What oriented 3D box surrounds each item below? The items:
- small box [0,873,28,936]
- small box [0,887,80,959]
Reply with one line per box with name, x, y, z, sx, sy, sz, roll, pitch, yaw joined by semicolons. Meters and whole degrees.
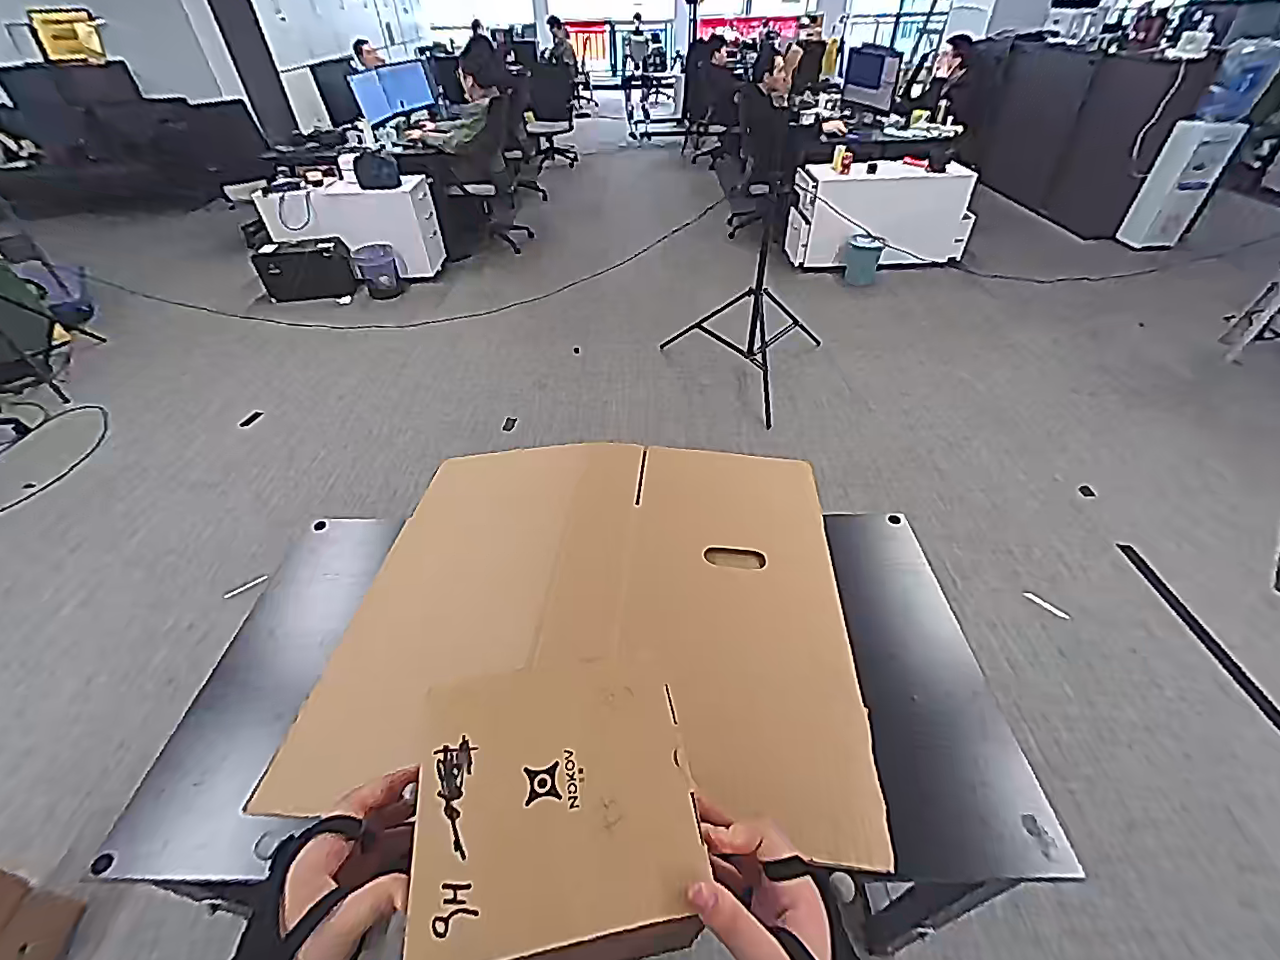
small box;-1.337;0.845;1.009;0.168;0.176;0.179;-5;41;-5
small box;-1.333;0.971;1.113;0.168;0.176;0.179;-4;42;-2
